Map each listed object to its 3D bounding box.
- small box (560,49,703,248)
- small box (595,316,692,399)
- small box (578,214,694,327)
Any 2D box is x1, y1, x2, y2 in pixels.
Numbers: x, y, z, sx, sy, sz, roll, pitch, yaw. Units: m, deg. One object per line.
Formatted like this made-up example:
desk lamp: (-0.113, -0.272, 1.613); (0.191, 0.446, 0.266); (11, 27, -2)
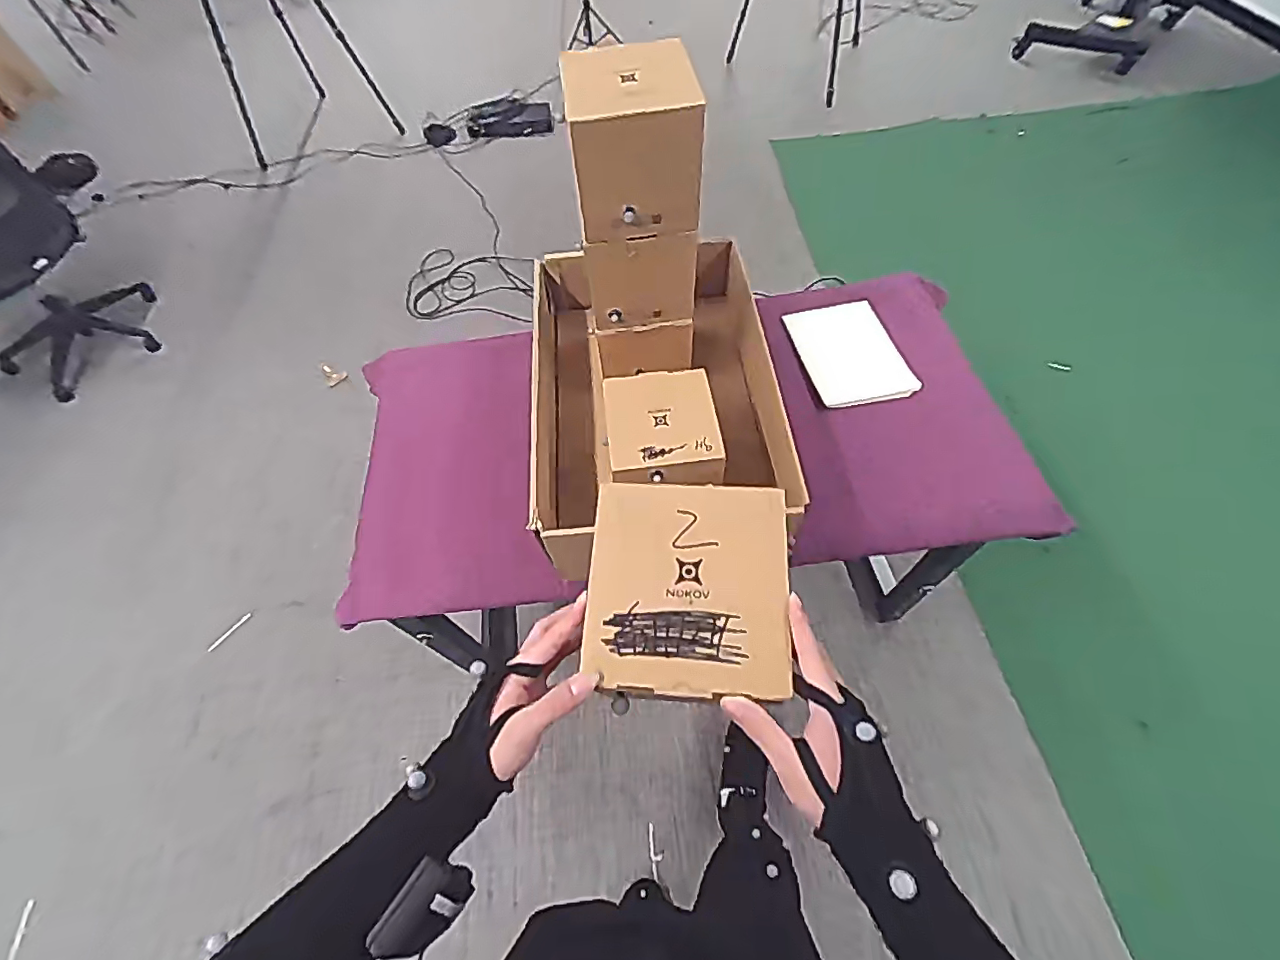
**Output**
small box: (-0.013, -0.451, 0.745); (0.168, 0.176, 0.179); (-8, 60, -2)
small box: (0.000, -0.278, 1.022); (0.168, 0.176, 0.179); (-8, 60, -2)
small box: (-0.008, -0.368, 0.885); (0.168, 0.176, 0.179); (-8, 59, -2)
